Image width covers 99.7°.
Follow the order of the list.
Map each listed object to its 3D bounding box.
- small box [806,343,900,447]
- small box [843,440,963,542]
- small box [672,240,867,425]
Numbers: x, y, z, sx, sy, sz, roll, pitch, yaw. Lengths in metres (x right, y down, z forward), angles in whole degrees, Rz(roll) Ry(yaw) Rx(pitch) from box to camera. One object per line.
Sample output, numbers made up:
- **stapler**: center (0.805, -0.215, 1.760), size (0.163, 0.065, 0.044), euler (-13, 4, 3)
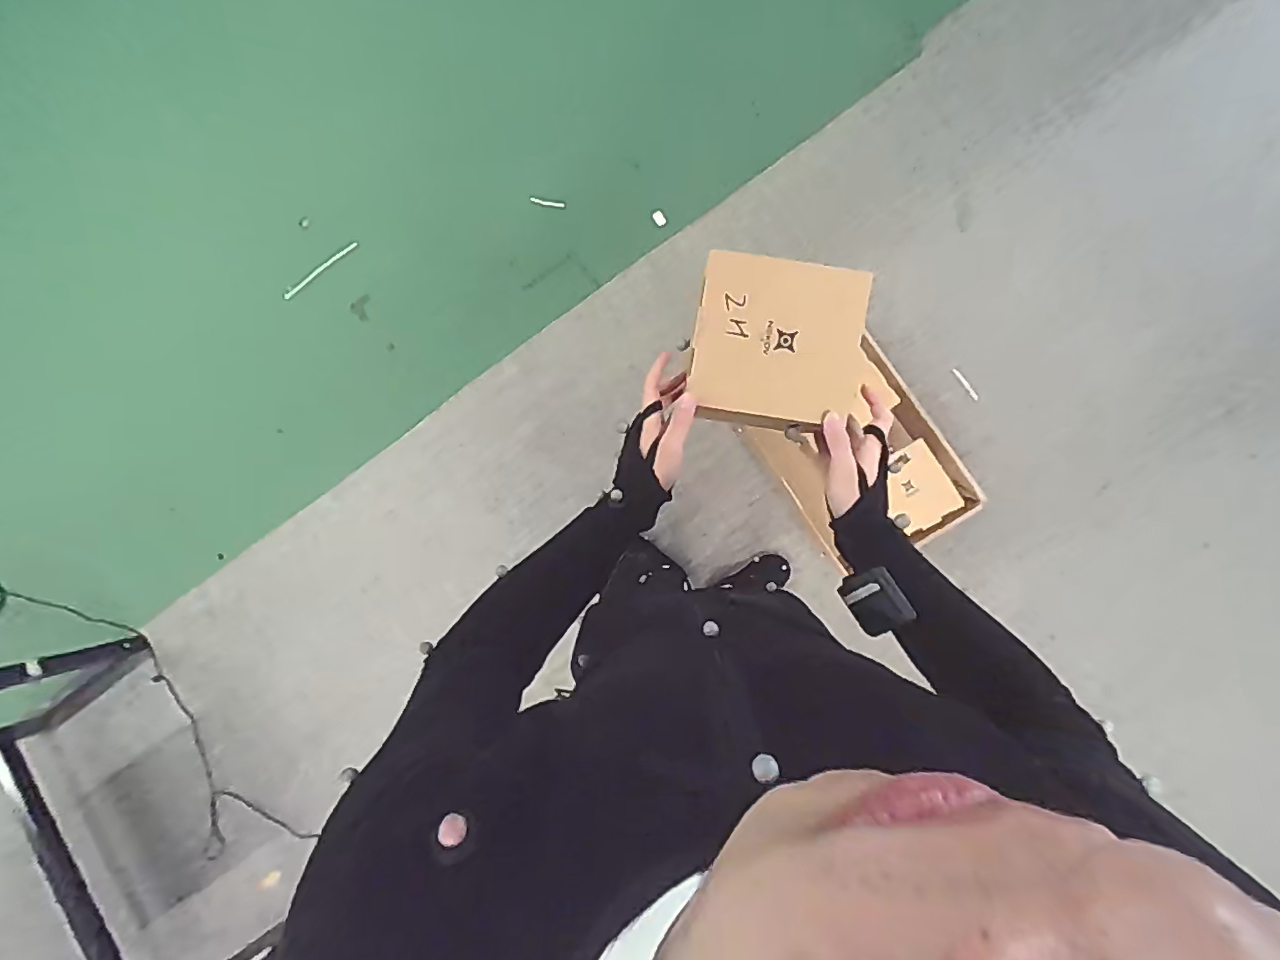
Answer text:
- **small box**: center (0.479, -0.194, 1.303), size (0.179, 0.176, 0.168), euler (-35, 85, 5)
- **small box**: center (0.607, 0.026, 1.270), size (0.168, 0.176, 0.179), euler (-30, 84, 6)
- **small box**: center (0.138, -0.158, 0.640), size (0.179, 0.176, 0.168), euler (9, 93, 1)
